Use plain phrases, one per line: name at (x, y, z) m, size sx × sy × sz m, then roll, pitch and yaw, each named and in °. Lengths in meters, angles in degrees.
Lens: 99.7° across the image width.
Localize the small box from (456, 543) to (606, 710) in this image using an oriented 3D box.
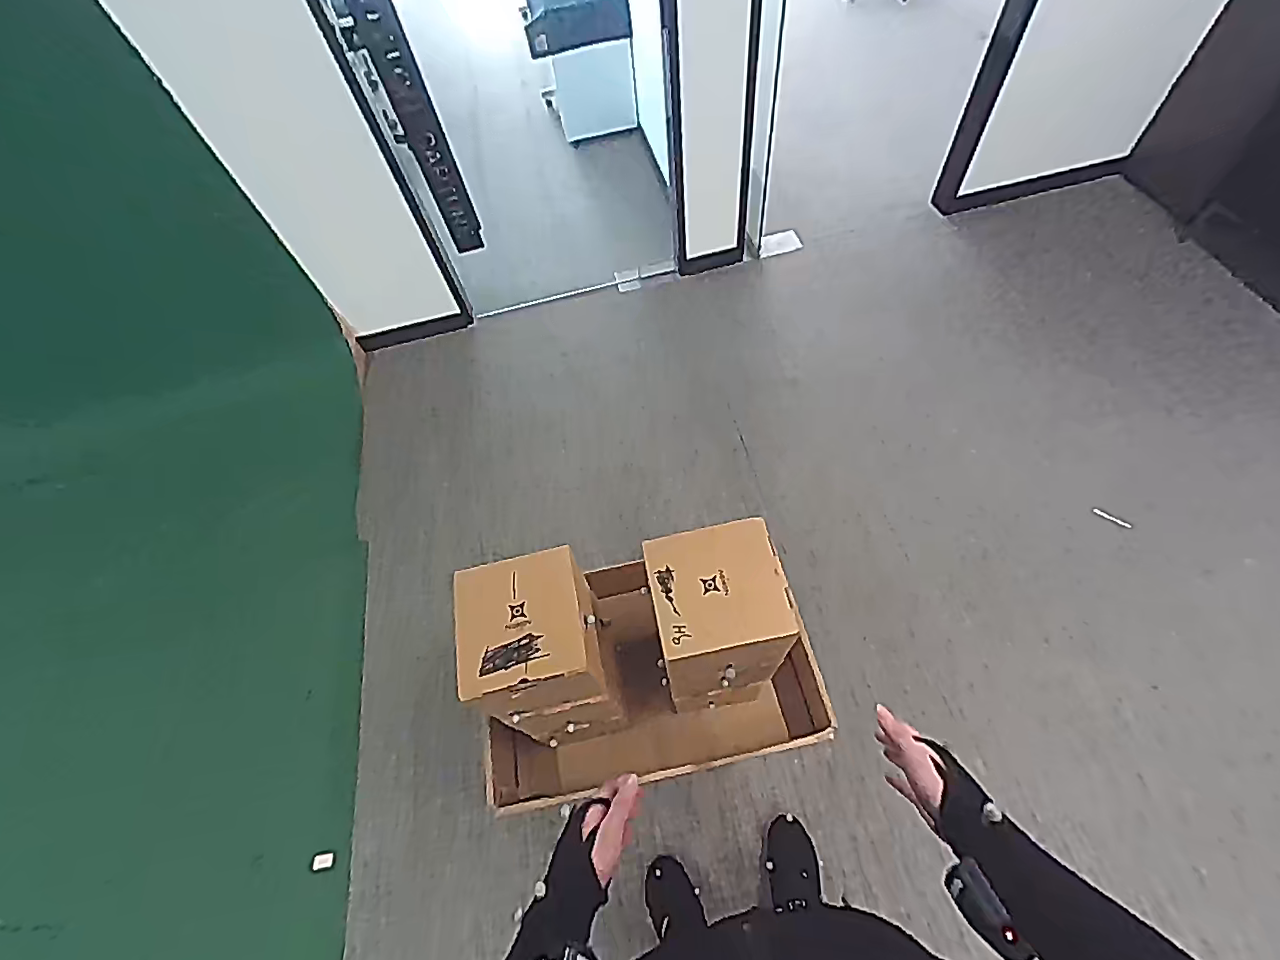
small box at (-0.149, 0.216, 0.769) m, size 0.168 × 0.176 × 0.179 m, roll -13°, pitch 58°, yaw -2°

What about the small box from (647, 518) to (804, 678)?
small box at (0.111, 0.174, 0.773) m, size 0.179 × 0.176 × 0.168 m, roll -11°, pitch 60°, yaw -1°

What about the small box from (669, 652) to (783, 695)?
small box at (0.126, 0.255, 0.914) m, size 0.179 × 0.176 × 0.168 m, roll -10°, pitch 60°, yaw -1°

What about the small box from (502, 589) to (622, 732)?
small box at (-0.130, 0.306, 0.906) m, size 0.168 × 0.176 × 0.179 m, roll -12°, pitch 58°, yaw -1°
